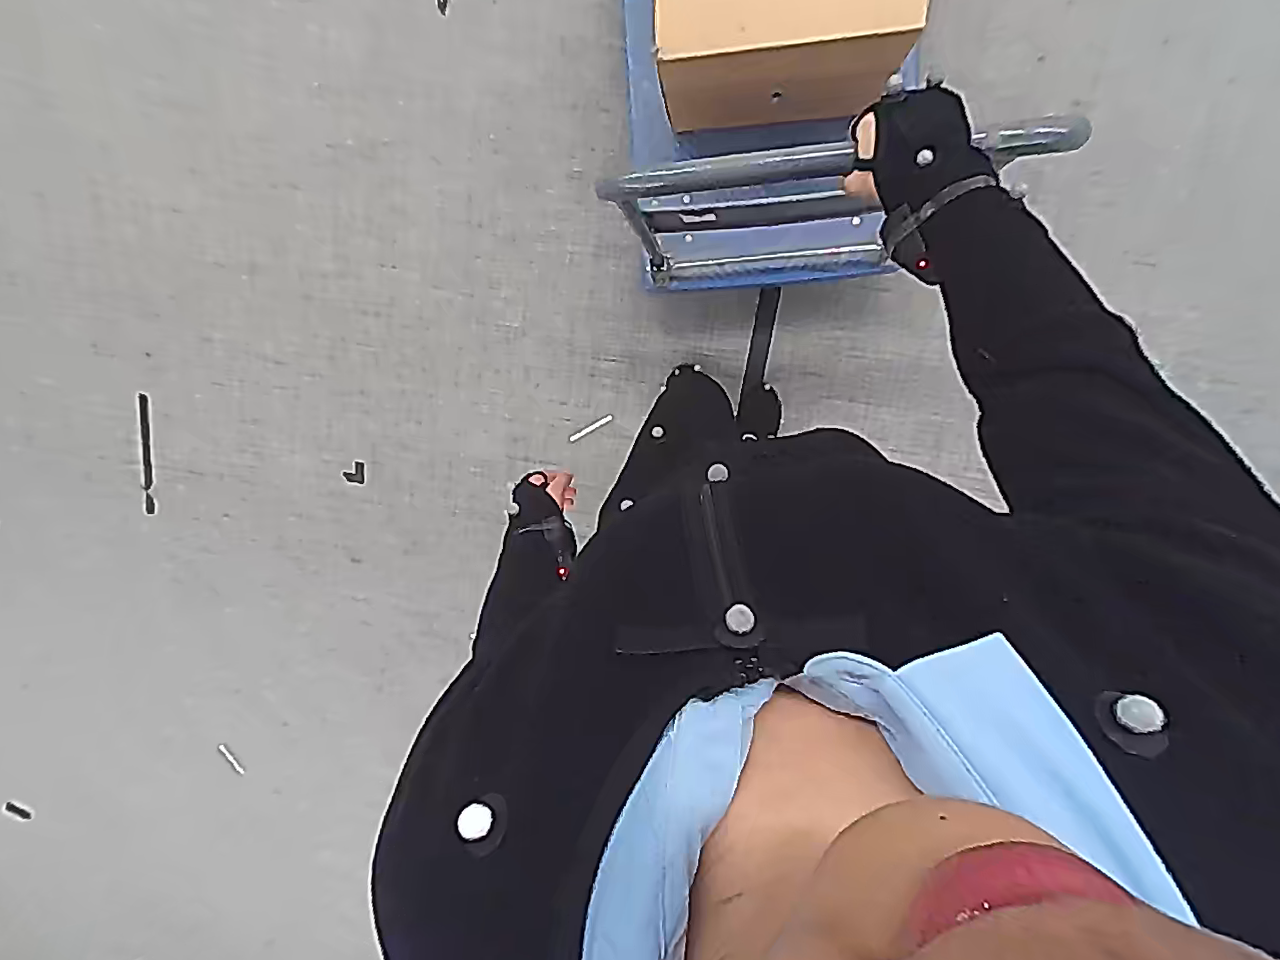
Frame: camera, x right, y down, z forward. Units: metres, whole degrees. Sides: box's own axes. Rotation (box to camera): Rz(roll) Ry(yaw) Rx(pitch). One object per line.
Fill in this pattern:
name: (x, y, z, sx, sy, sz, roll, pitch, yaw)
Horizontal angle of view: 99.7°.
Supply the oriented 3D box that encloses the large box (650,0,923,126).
large box: (0.233, -0.854, 0.926, 0.408, 0.320, 0.320, -1, 103, 10)
